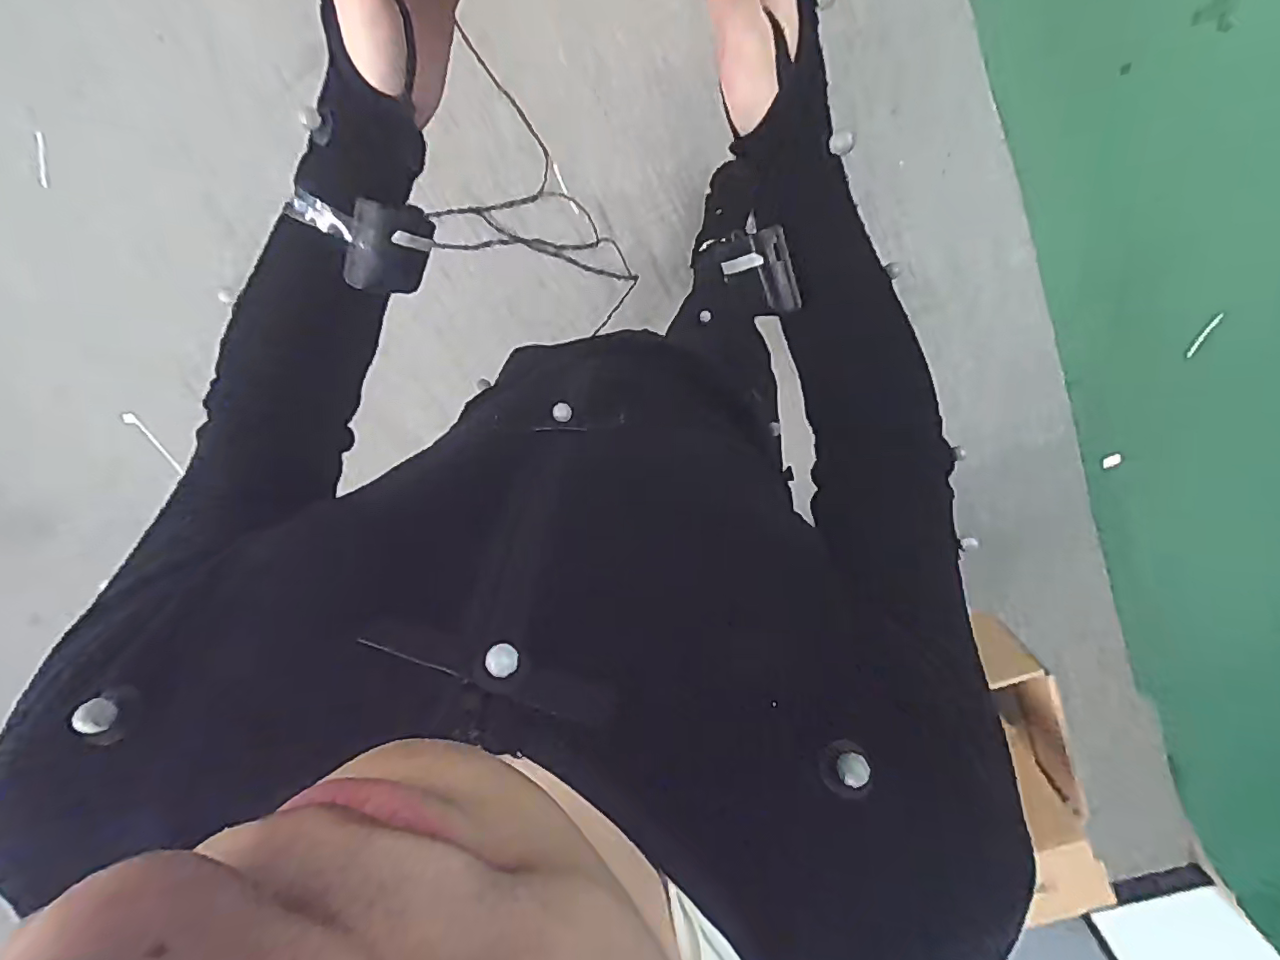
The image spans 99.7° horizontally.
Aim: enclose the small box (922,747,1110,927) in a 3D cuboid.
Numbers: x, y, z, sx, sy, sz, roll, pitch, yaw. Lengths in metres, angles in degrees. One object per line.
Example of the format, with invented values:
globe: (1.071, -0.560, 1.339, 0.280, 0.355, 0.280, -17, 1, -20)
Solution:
small box: (0.607, 0.580, 0.893, 0.179, 0.176, 0.168, -28, 108, 15)
